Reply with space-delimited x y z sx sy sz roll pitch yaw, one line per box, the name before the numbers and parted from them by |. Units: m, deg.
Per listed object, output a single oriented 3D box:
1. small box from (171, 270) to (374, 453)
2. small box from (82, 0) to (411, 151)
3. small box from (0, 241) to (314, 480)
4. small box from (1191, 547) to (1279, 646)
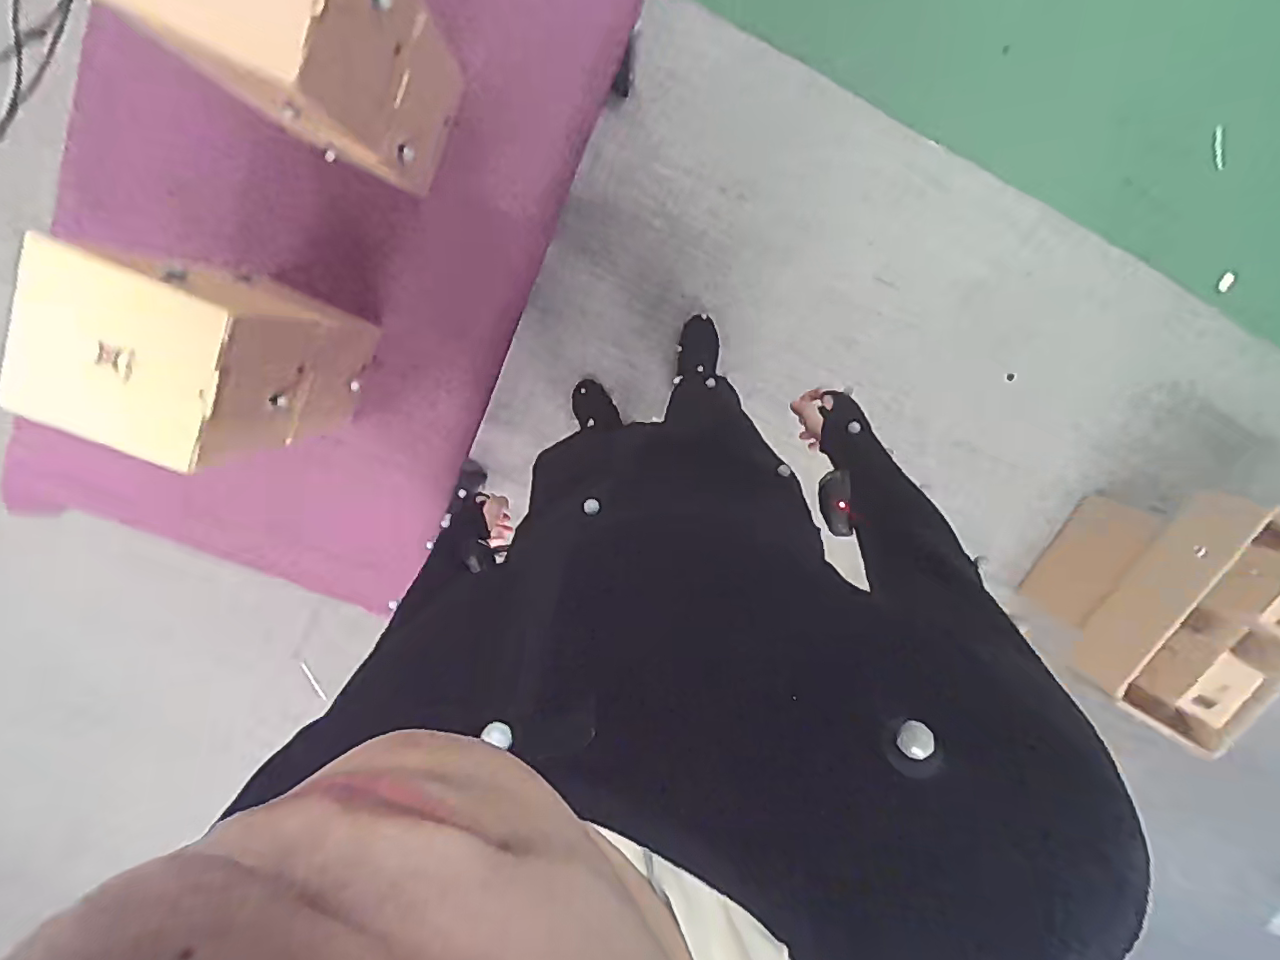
small box | -0.497 -0.154 0.724 0.179 0.176 0.168 23 101 -9
small box | -0.341 -0.440 0.499 0.179 0.176 0.168 23 100 -8
small box | -0.488 -0.118 0.565 0.179 0.176 0.168 21 100 -9
small box | 1.588 0.297 1.379 0.168 0.176 0.179 31 98 -11
